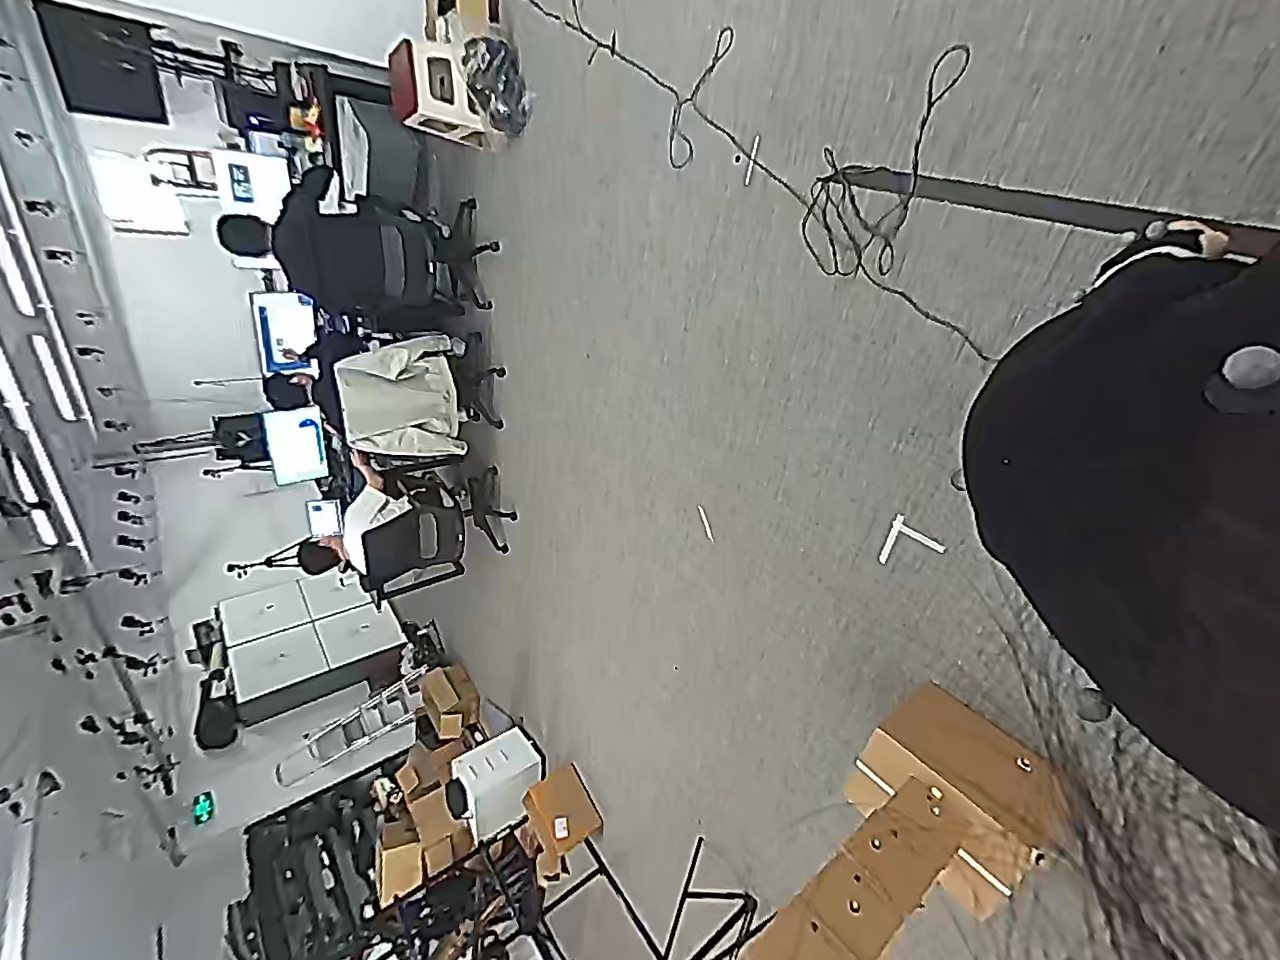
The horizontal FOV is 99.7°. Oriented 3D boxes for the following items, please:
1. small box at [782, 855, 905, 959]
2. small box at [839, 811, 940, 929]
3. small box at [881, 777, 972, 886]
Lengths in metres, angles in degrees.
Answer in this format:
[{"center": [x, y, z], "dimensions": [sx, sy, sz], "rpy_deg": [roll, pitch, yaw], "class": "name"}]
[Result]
[{"center": [0.432, 0.954, 1.145], "dimensions": [0.168, 0.176, 0.179], "rpy_deg": [30, 124, 45], "class": "small box"}, {"center": [0.558, 0.916, 1.245], "dimensions": [0.168, 0.176, 0.179], "rpy_deg": [34, 128, 42], "class": "small box"}, {"center": [0.685, 0.890, 1.342], "dimensions": [0.168, 0.176, 0.179], "rpy_deg": [35, 127, 40], "class": "small box"}]
